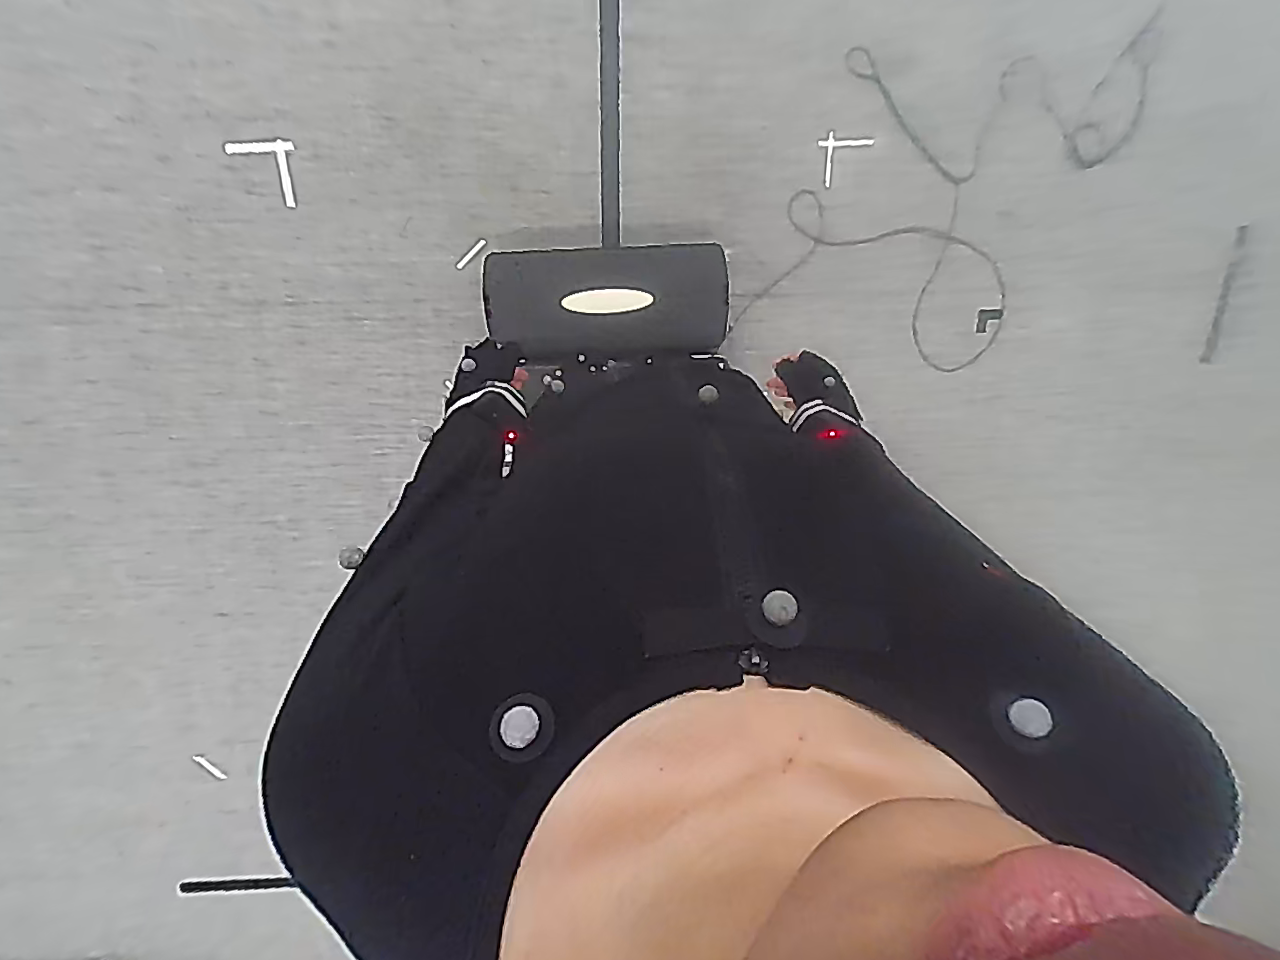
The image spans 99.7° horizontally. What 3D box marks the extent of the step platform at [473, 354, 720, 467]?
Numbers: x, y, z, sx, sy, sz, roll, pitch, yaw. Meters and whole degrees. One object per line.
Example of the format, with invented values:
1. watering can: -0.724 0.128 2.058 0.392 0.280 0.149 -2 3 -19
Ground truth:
1. step platform: -0.117 -0.199 1.535 0.684 0.204 0.286 -3 105 -1
